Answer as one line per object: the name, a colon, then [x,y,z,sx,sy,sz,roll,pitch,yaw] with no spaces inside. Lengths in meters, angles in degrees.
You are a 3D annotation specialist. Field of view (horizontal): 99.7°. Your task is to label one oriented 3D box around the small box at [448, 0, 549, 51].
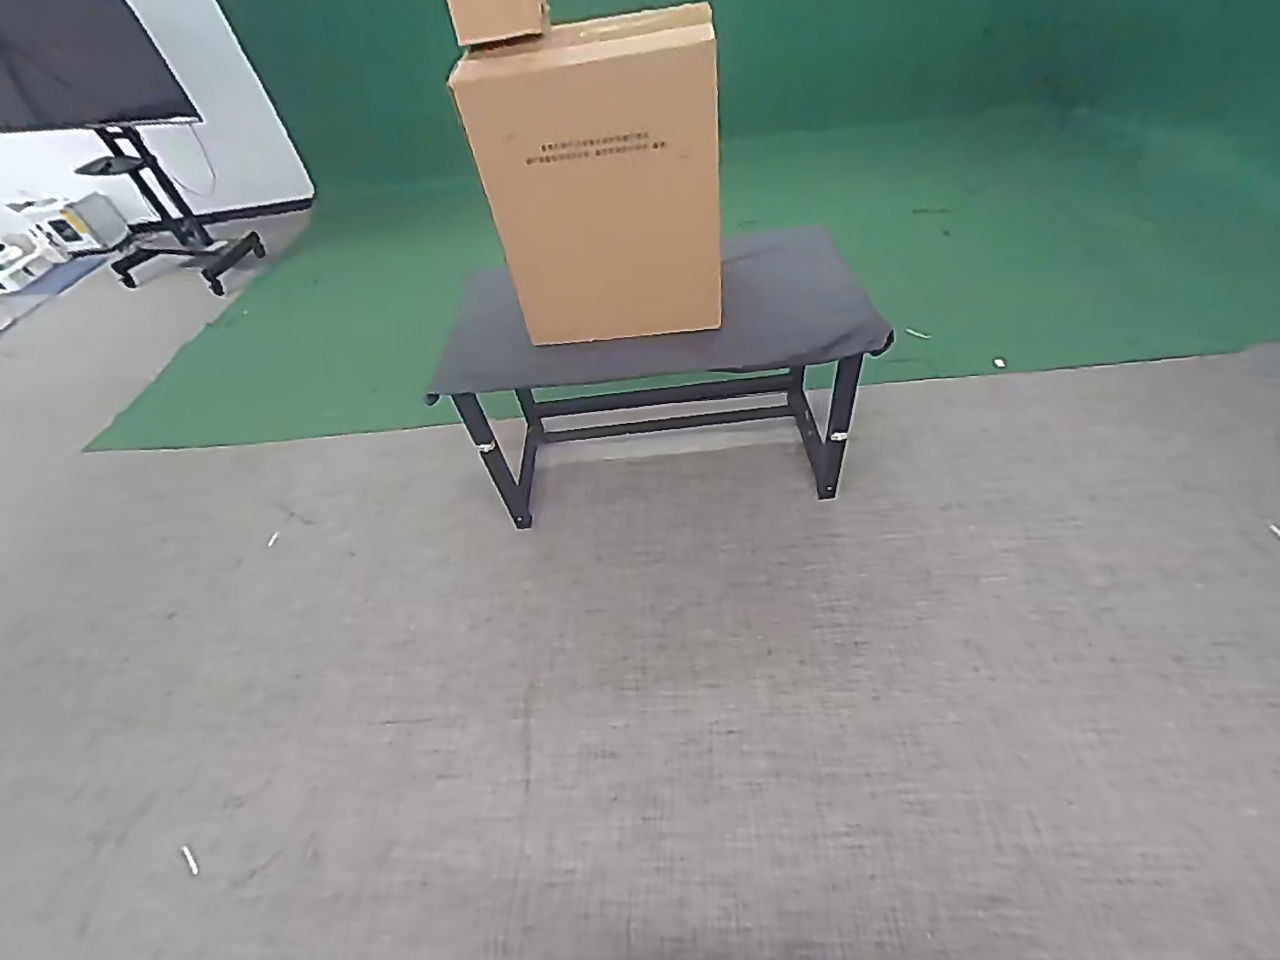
small box: [-0.301,-1.012,1.127,0.179,0.176,0.168,-4,41,3]
